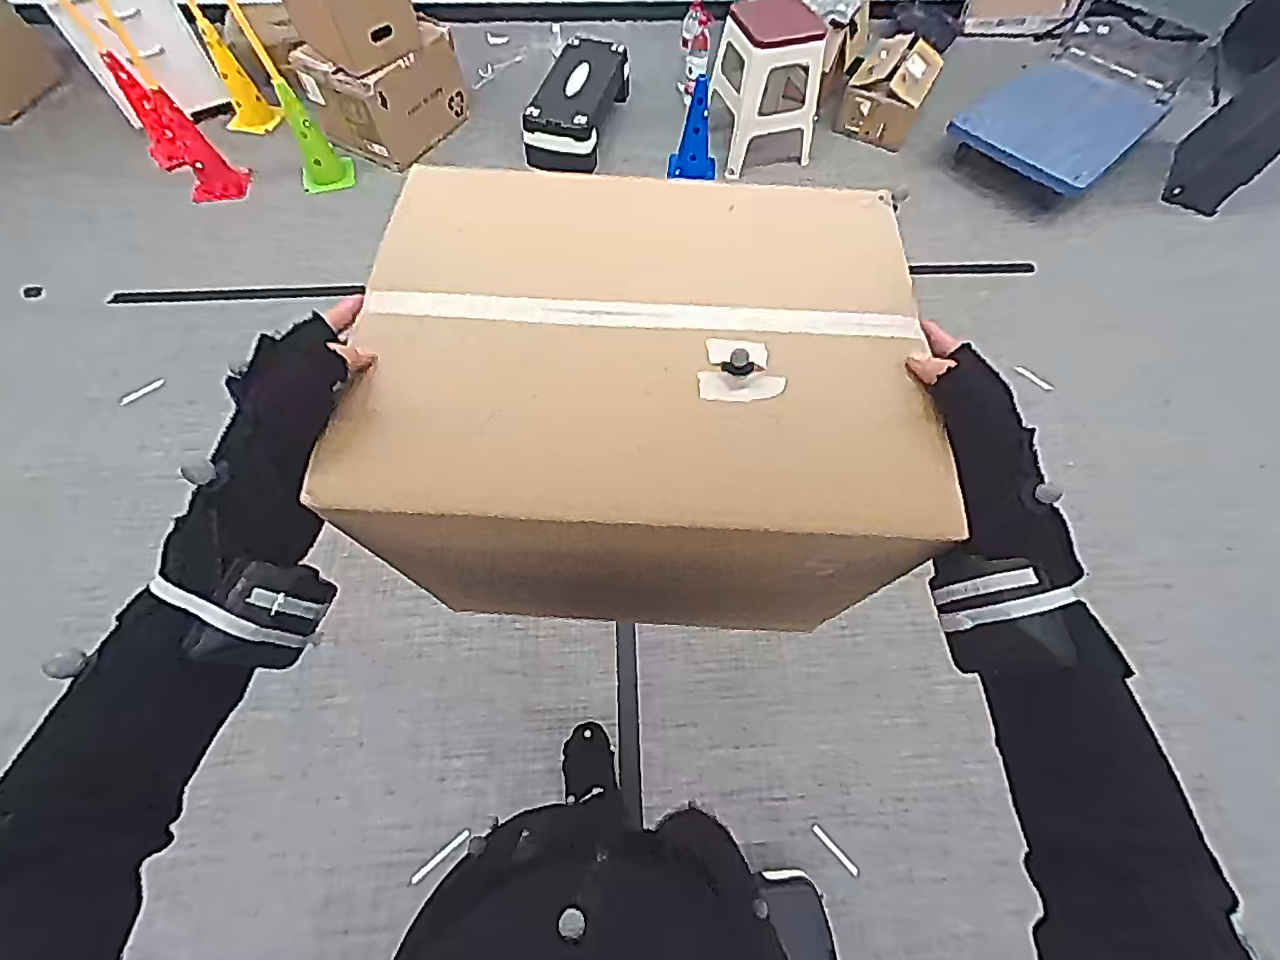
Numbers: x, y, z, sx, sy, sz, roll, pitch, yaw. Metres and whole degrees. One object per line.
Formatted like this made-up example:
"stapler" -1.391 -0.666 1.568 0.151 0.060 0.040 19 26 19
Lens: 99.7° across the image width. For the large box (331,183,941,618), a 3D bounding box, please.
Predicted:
"large box" -0.002 -0.052 0.544 0.408 0.320 0.320 3 65 0
